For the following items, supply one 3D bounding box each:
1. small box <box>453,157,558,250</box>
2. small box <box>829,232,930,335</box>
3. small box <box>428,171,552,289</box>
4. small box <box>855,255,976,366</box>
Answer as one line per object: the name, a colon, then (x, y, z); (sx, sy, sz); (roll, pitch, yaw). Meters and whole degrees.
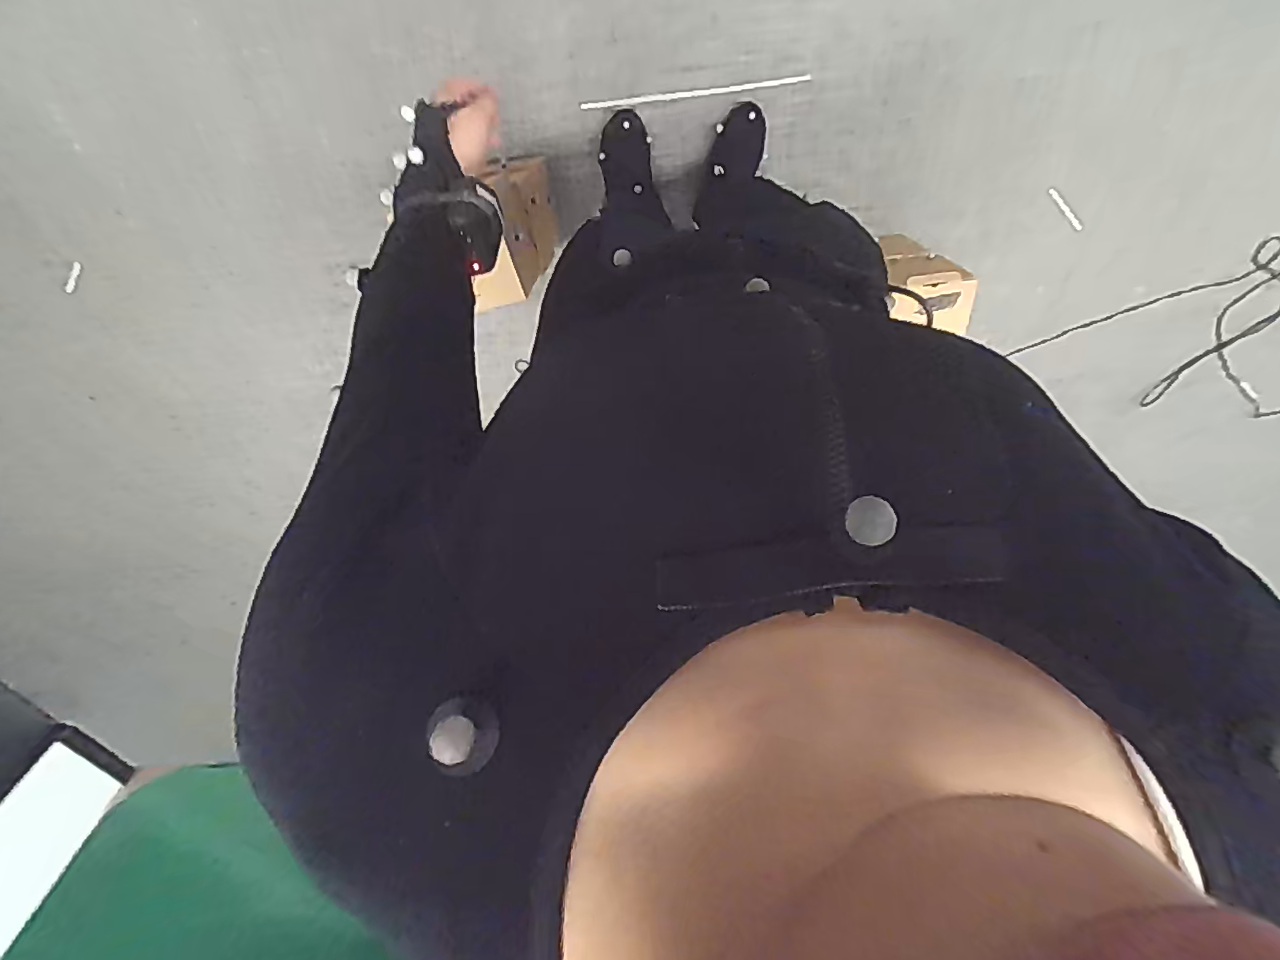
small box: (-0.282, -0.601, 1.191); (0.179, 0.176, 0.168); (-6, 126, 5)
small box: (0.555, -0.467, 1.280); (0.168, 0.176, 0.179); (-7, 126, 5)
small box: (-0.281, -0.496, 1.066); (0.179, 0.176, 0.168); (-8, 125, 8)
small box: (0.572, -0.366, 1.151); (0.168, 0.176, 0.179); (-6, 128, 5)
